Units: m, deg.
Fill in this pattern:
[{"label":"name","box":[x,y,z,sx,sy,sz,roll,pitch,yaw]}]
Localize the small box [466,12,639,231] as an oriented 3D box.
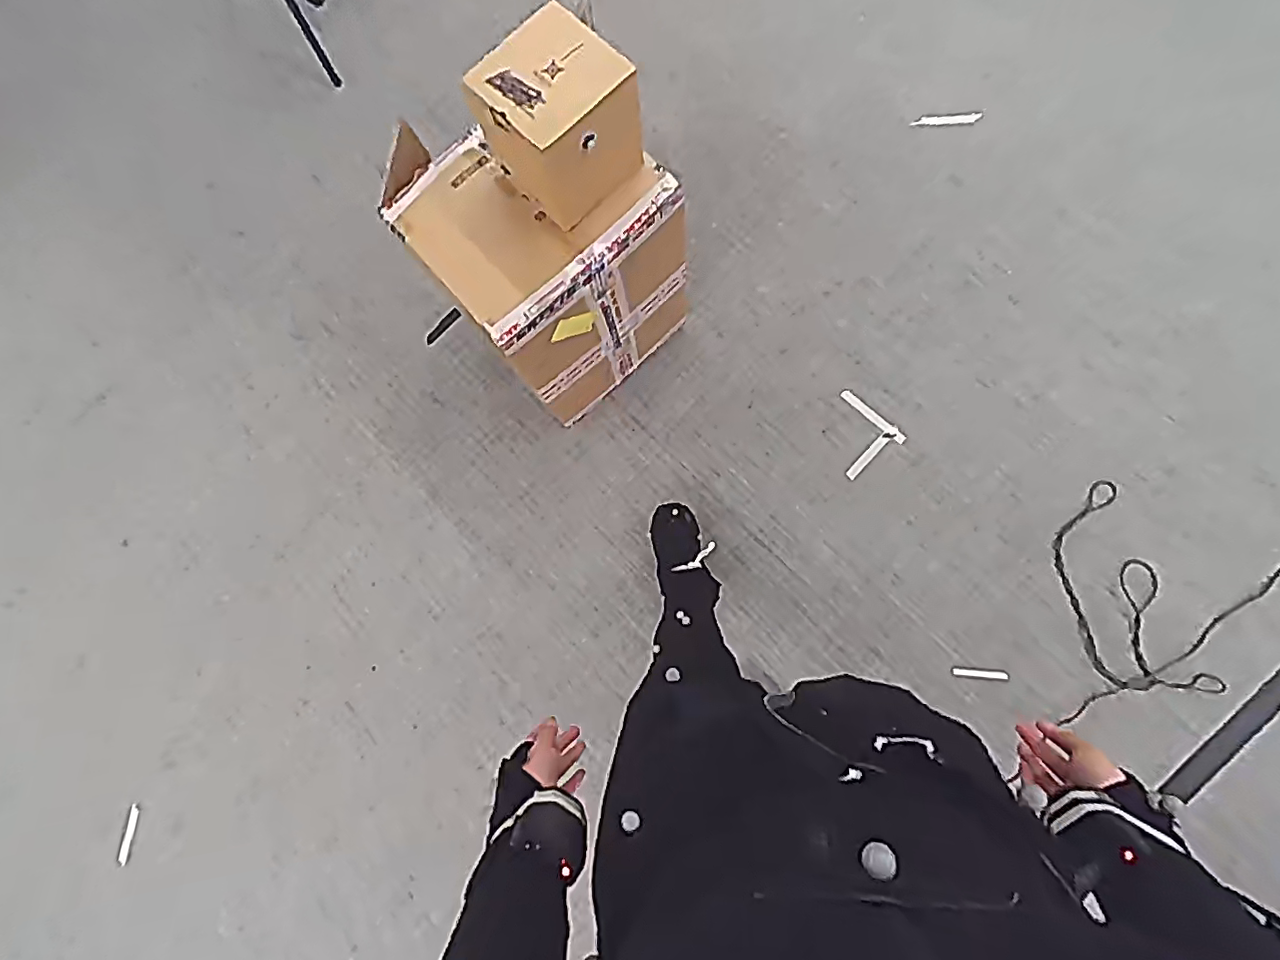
[{"label":"small box","box":[-0.114,-0.514,0.800,0.179,0.176,0.168,-44,81,-5]}]
